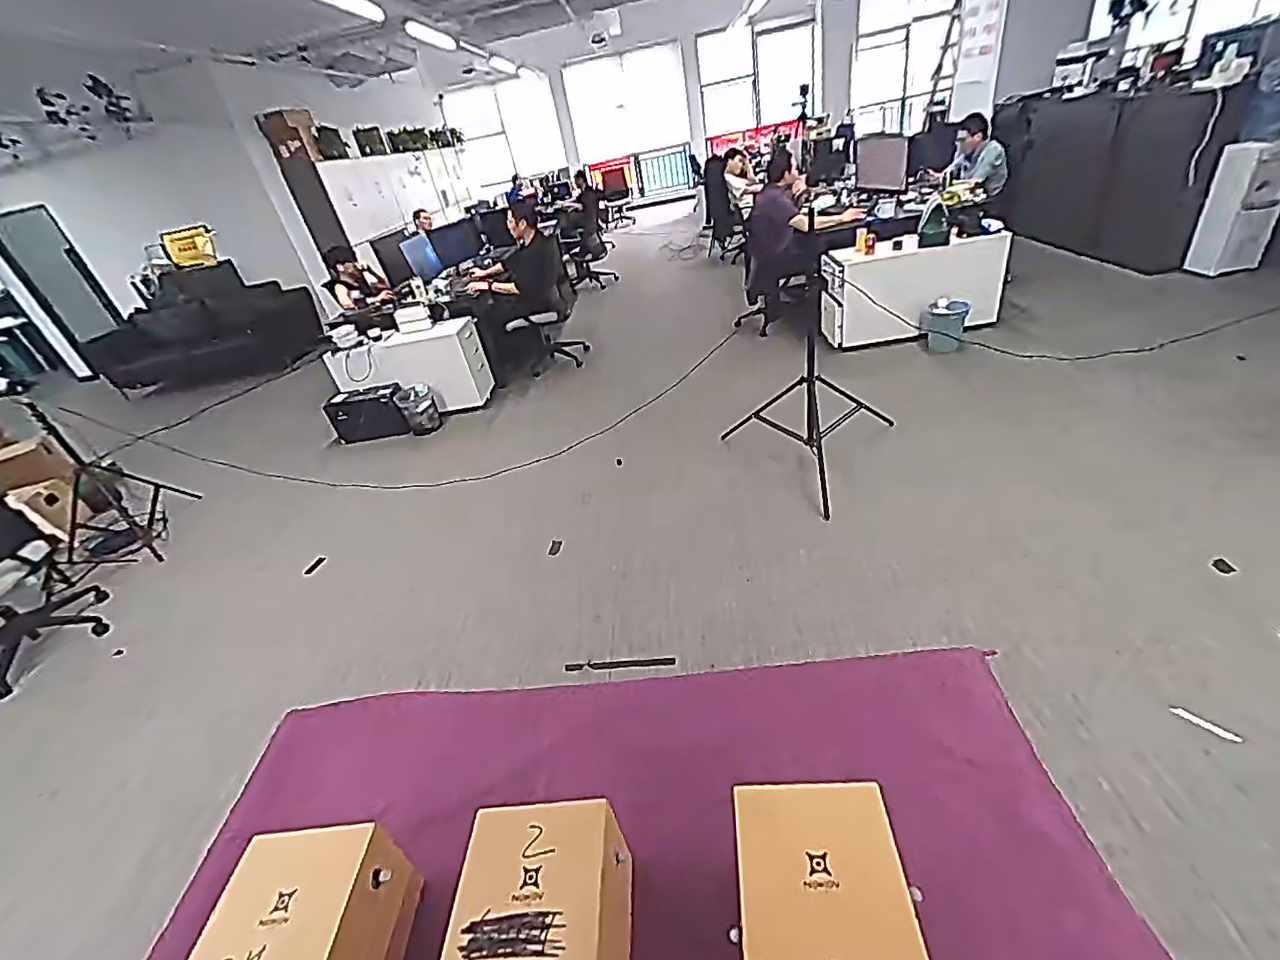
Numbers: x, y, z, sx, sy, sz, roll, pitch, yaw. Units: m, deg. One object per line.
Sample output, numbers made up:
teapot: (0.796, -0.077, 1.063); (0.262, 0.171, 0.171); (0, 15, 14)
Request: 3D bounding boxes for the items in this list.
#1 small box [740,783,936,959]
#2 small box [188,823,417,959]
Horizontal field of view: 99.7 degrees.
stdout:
small box: (0.202, 0.464, 0.591); (0.168, 0.176, 0.179); (-7, 32, 9)
small box: (-0.392, 0.552, 0.650); (0.168, 0.176, 0.179); (-9, 33, 4)
